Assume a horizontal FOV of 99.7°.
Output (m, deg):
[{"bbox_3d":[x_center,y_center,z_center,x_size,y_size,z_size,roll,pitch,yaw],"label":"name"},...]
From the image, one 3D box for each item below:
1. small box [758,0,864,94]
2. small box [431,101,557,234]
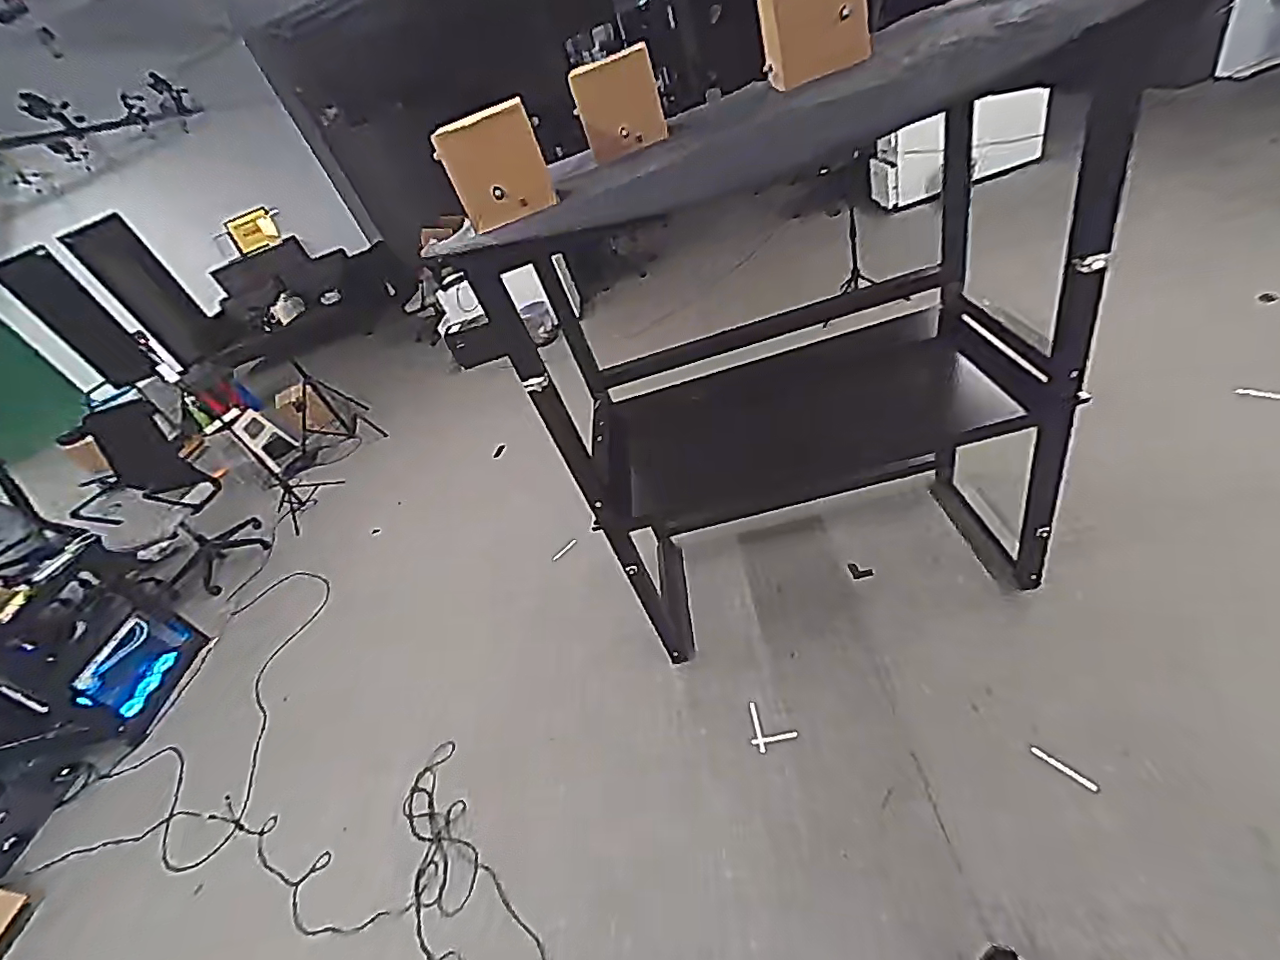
[{"bbox_3d":[0.352,-0.928,1.112,0.179,0.176,0.168,-14,38,11],"label":"small box"},{"bbox_3d":[-0.267,-0.586,1.019,0.168,0.176,0.179,-21,39,2],"label":"small box"}]
